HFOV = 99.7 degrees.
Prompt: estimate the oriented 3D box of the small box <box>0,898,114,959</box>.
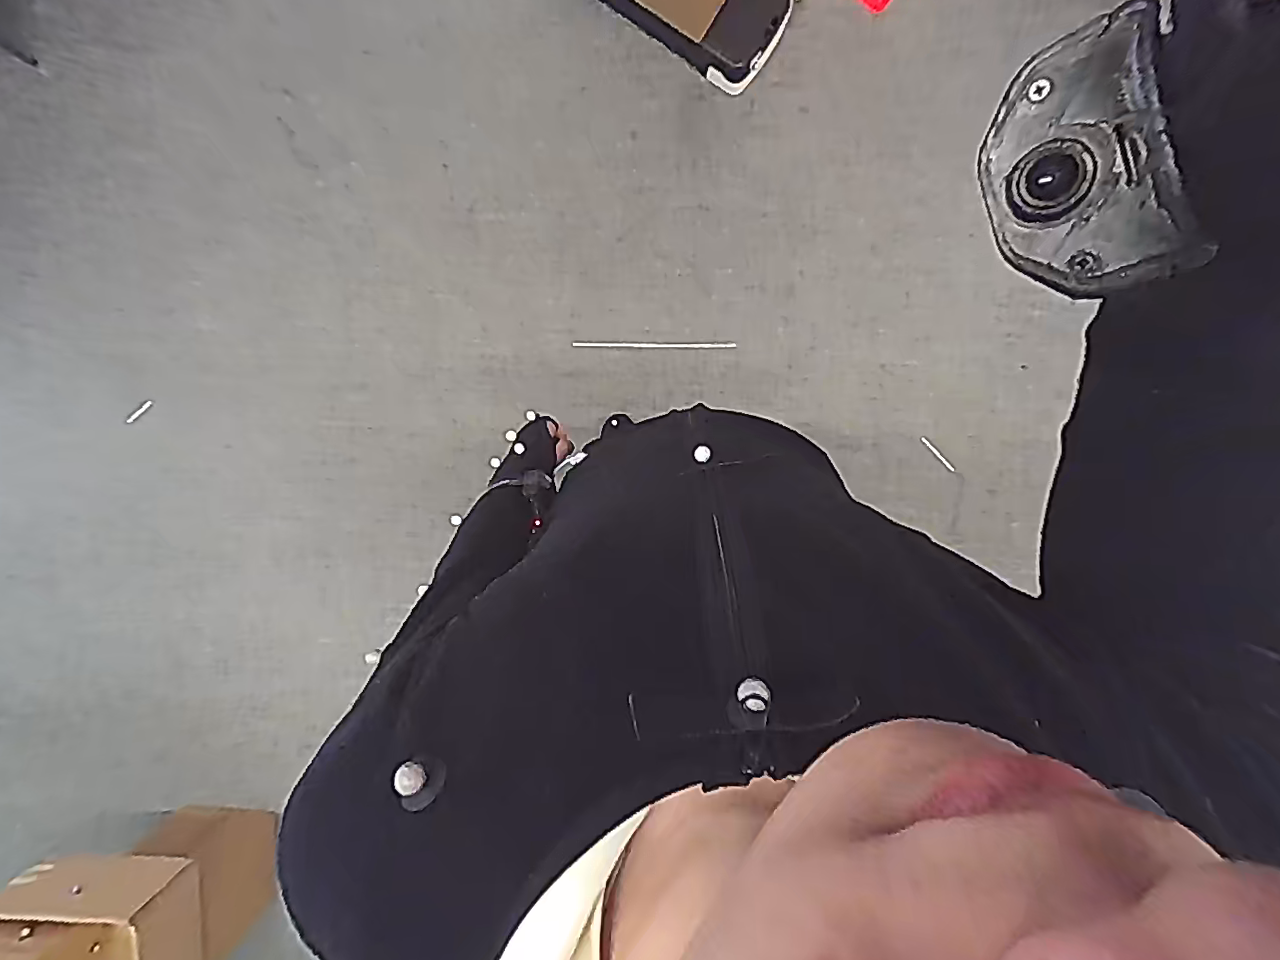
[{"bbox_3d":[-1.382,1.108,1.246,0.179,0.176,0.168,3,94,-1],"label":"small box"}]
